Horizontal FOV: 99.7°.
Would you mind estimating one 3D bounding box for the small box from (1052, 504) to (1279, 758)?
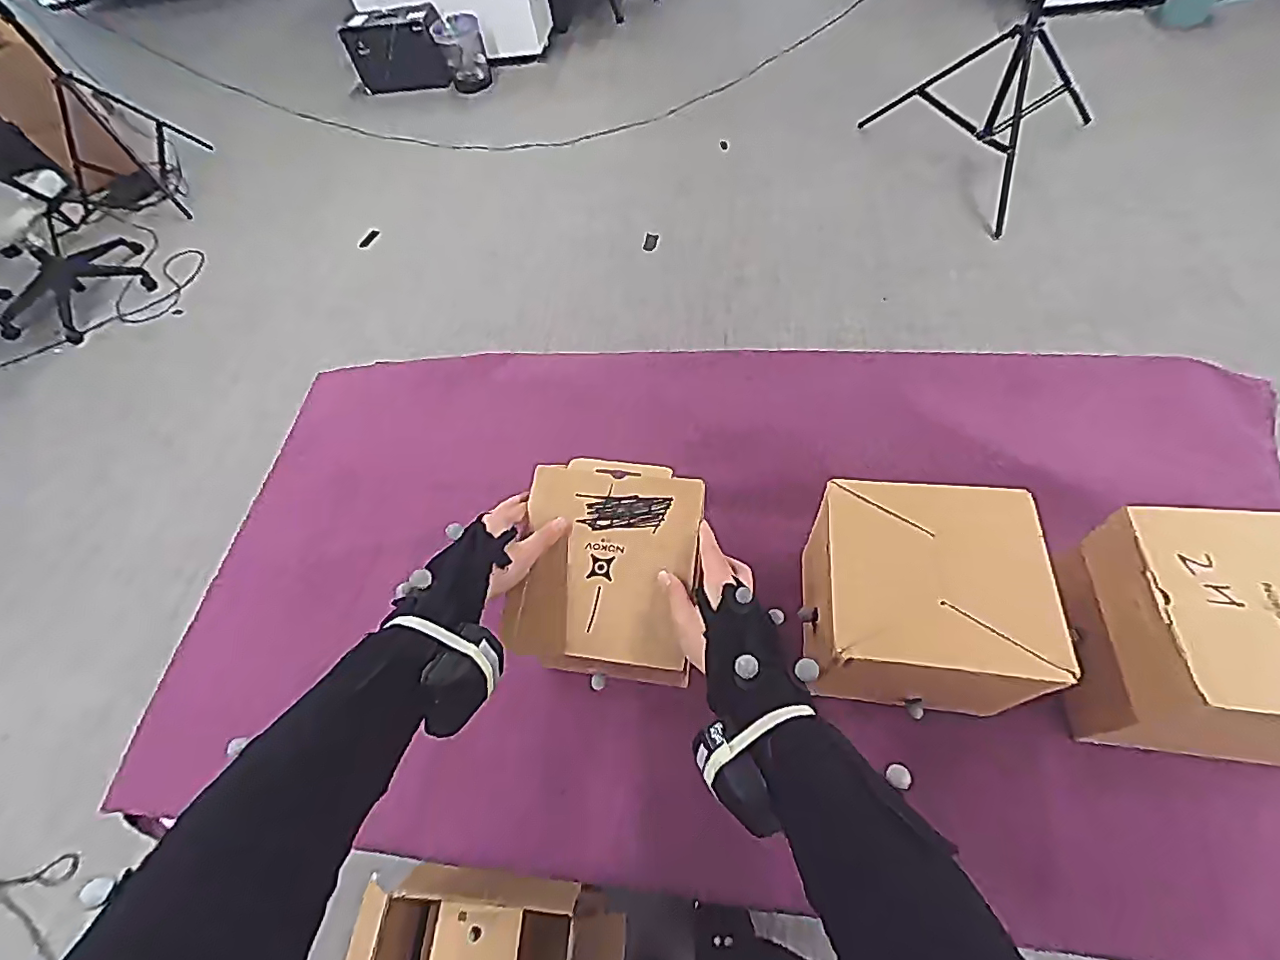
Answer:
[{"bbox_3d":[0.502,0.138,0.478,0.179,0.176,0.168,3,57,10],"label":"small box"}]

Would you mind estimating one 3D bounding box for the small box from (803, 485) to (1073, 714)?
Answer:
[{"bbox_3d":[0.262,0.116,0.525,0.179,0.176,0.168,3,58,11],"label":"small box"}]

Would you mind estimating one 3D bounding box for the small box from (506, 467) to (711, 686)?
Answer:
[{"bbox_3d":[-0.018,0.106,0.563,0.168,0.176,0.179,5,65,8],"label":"small box"}]
